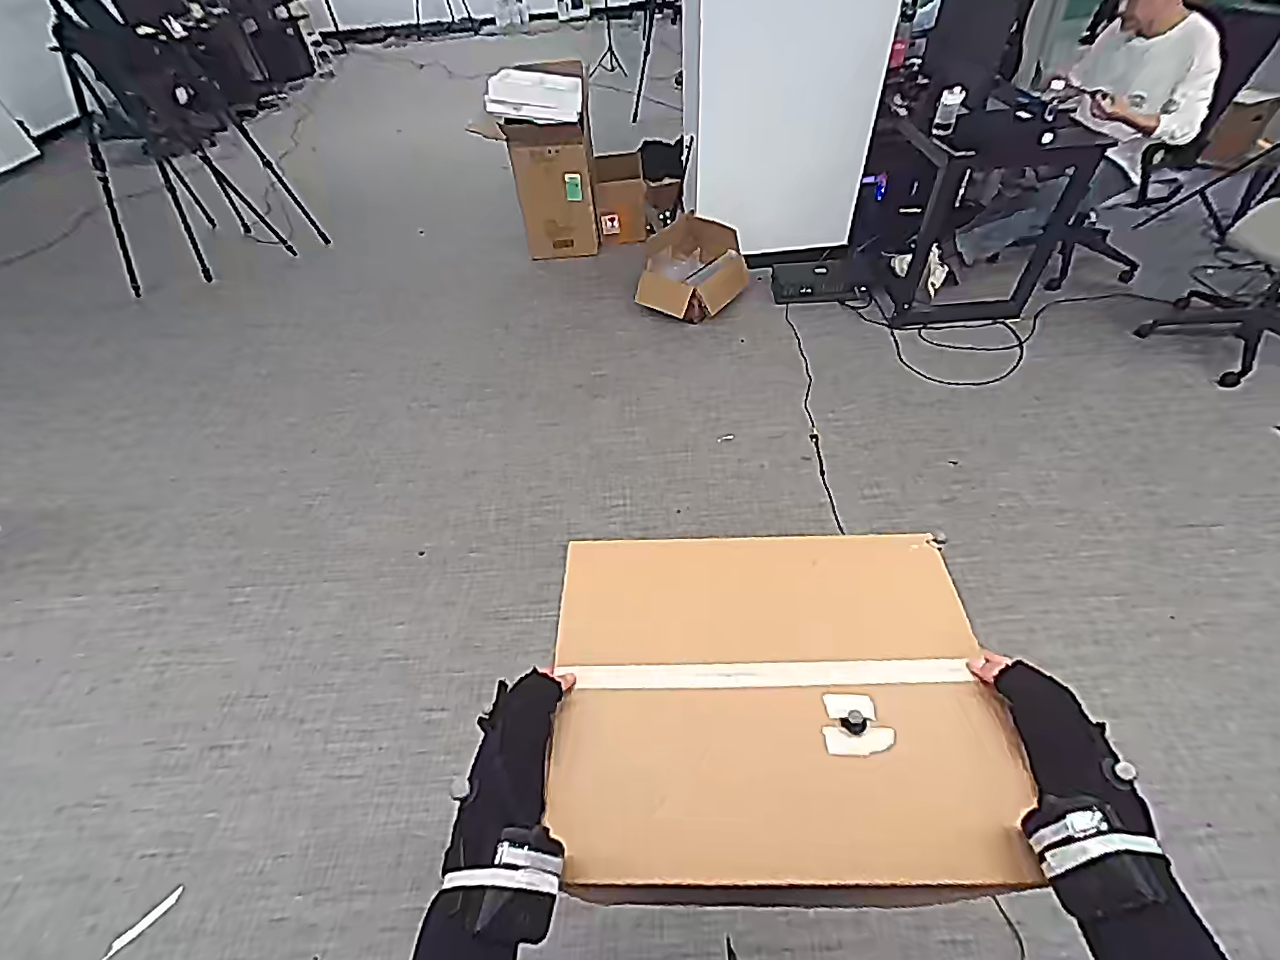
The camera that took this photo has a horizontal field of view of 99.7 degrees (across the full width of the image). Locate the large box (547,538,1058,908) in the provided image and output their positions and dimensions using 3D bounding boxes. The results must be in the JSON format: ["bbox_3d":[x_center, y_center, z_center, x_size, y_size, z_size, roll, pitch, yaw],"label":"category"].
[{"bbox_3d":[0.127,0.284,0.624,0.408,0.320,0.320,-1,50,2],"label":"large box"}]
